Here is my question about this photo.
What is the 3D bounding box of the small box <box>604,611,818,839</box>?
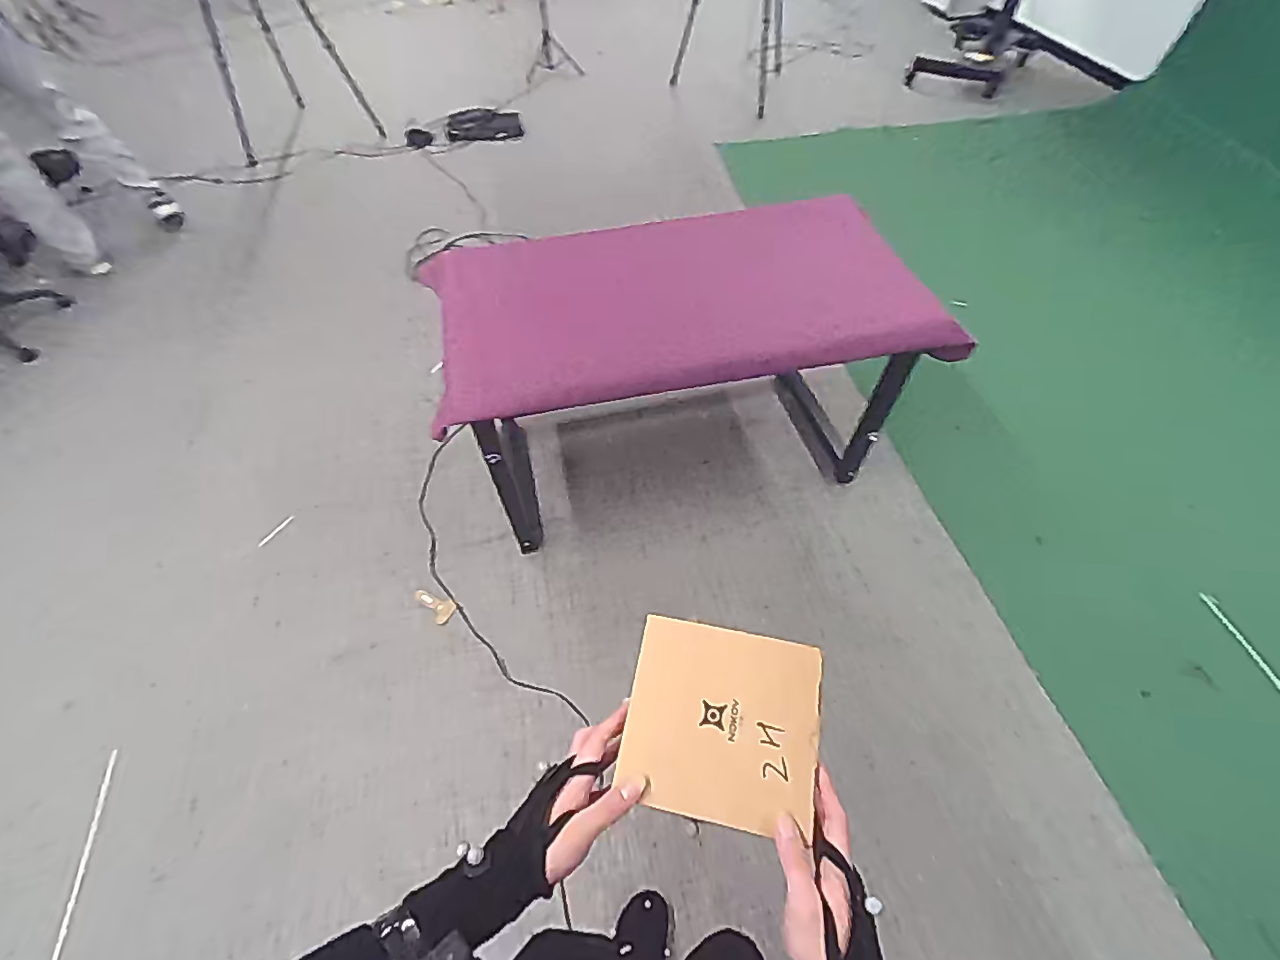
[{"bbox_3d":[0.073,0.253,0.561,0.179,0.176,0.168,9,61,8],"label":"small box"}]
